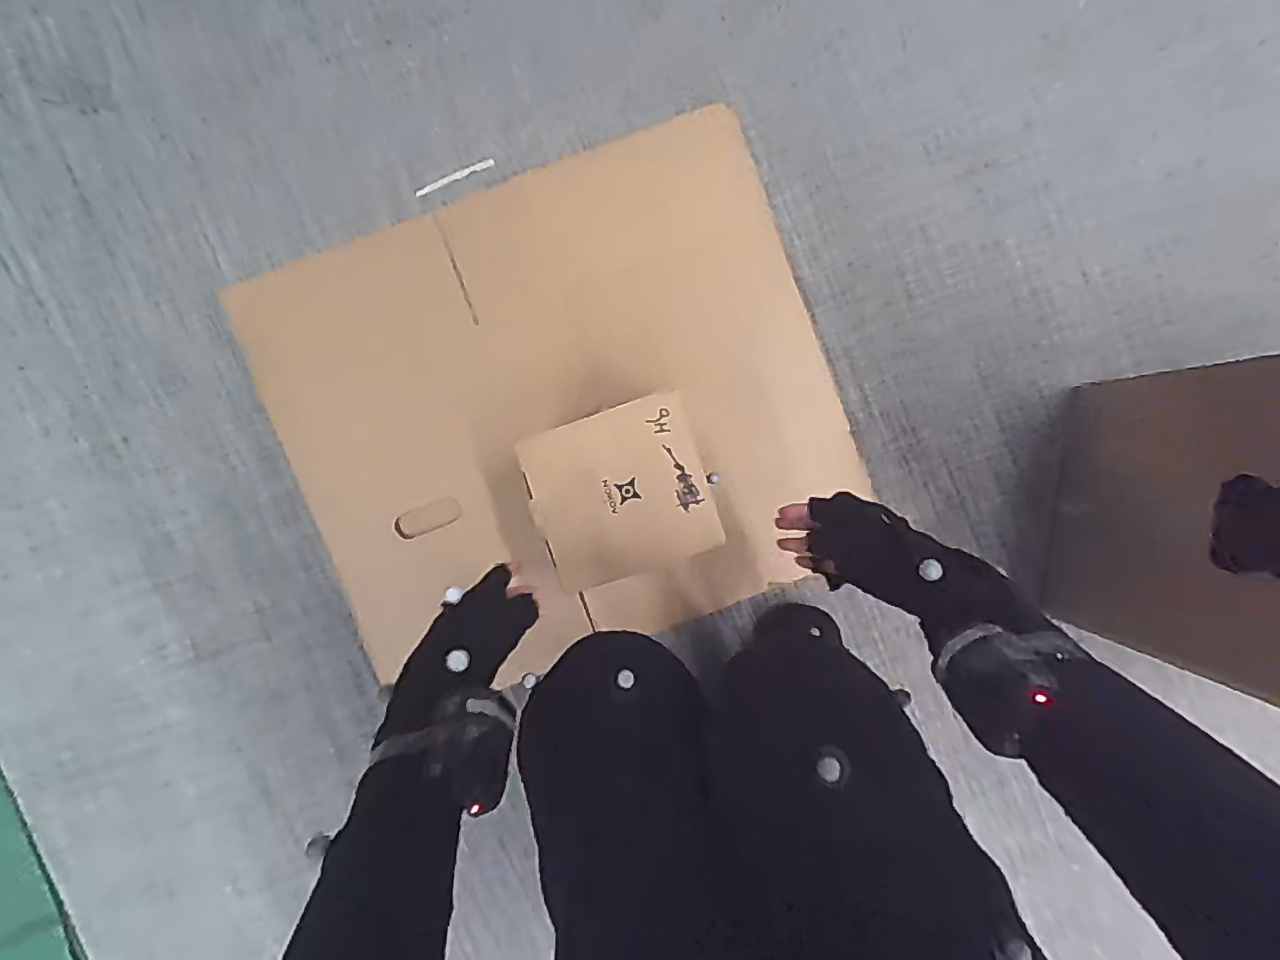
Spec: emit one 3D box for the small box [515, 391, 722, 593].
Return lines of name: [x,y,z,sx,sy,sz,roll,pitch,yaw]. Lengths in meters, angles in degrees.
small box: [-0.018,0.014,0.633,0.179,0.176,0.168,-21,90,3]
